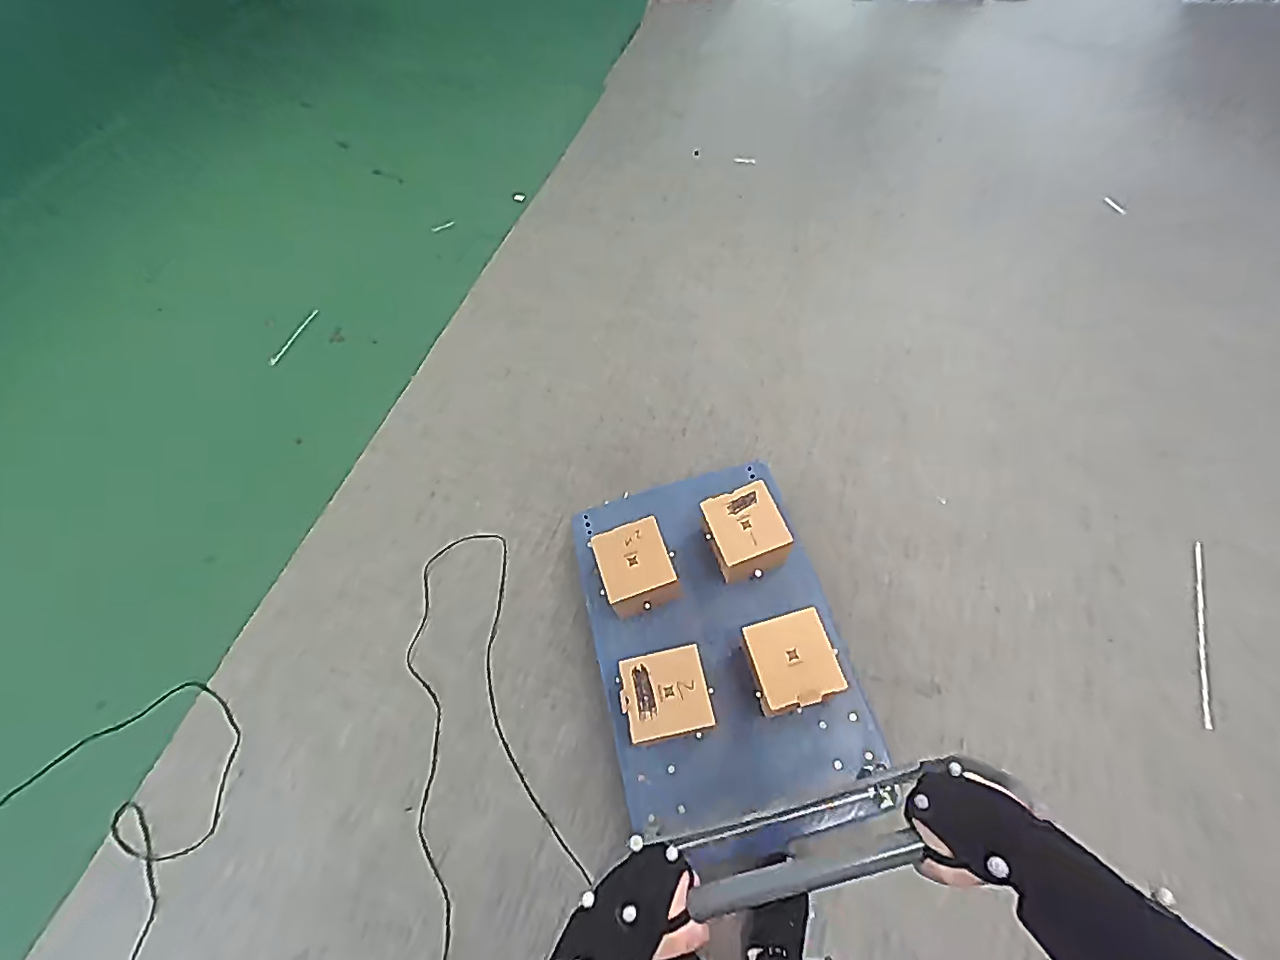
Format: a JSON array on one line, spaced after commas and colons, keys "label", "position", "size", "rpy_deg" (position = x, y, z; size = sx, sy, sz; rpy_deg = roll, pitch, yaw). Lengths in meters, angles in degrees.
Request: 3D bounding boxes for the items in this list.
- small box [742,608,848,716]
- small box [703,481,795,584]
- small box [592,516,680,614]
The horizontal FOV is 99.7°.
[{"label": "small box", "position": [0.329, 0.405, 1.191], "size": [0.168, 0.176, 0.179], "rpy_deg": [-16, 62, 0]}, {"label": "small box", "position": [0.262, 0.134, 1.339], "size": [0.168, 0.176, 0.179], "rpy_deg": [-20, 63, -1]}, {"label": "small box", "position": [-0.005, 0.218, 1.336], "size": [0.168, 0.176, 0.179], "rpy_deg": [-19, 62, -2]}]
